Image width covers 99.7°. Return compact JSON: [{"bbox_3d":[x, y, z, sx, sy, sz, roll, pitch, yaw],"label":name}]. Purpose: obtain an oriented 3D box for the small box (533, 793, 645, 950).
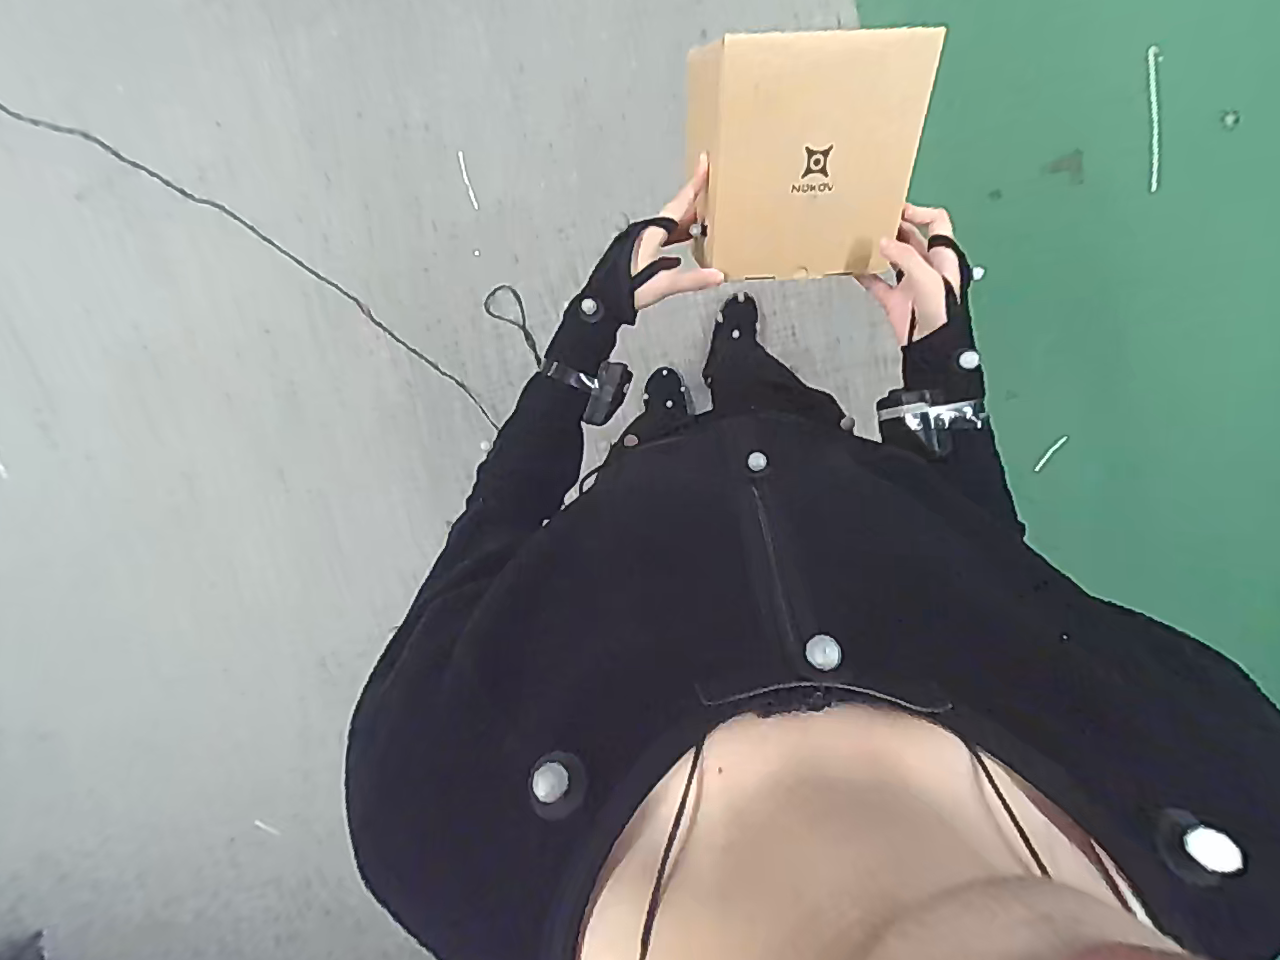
[{"bbox_3d":[-0.086,0.728,1.019,0.179,0.176,0.168,-9,104,2],"label":"small box"}]
